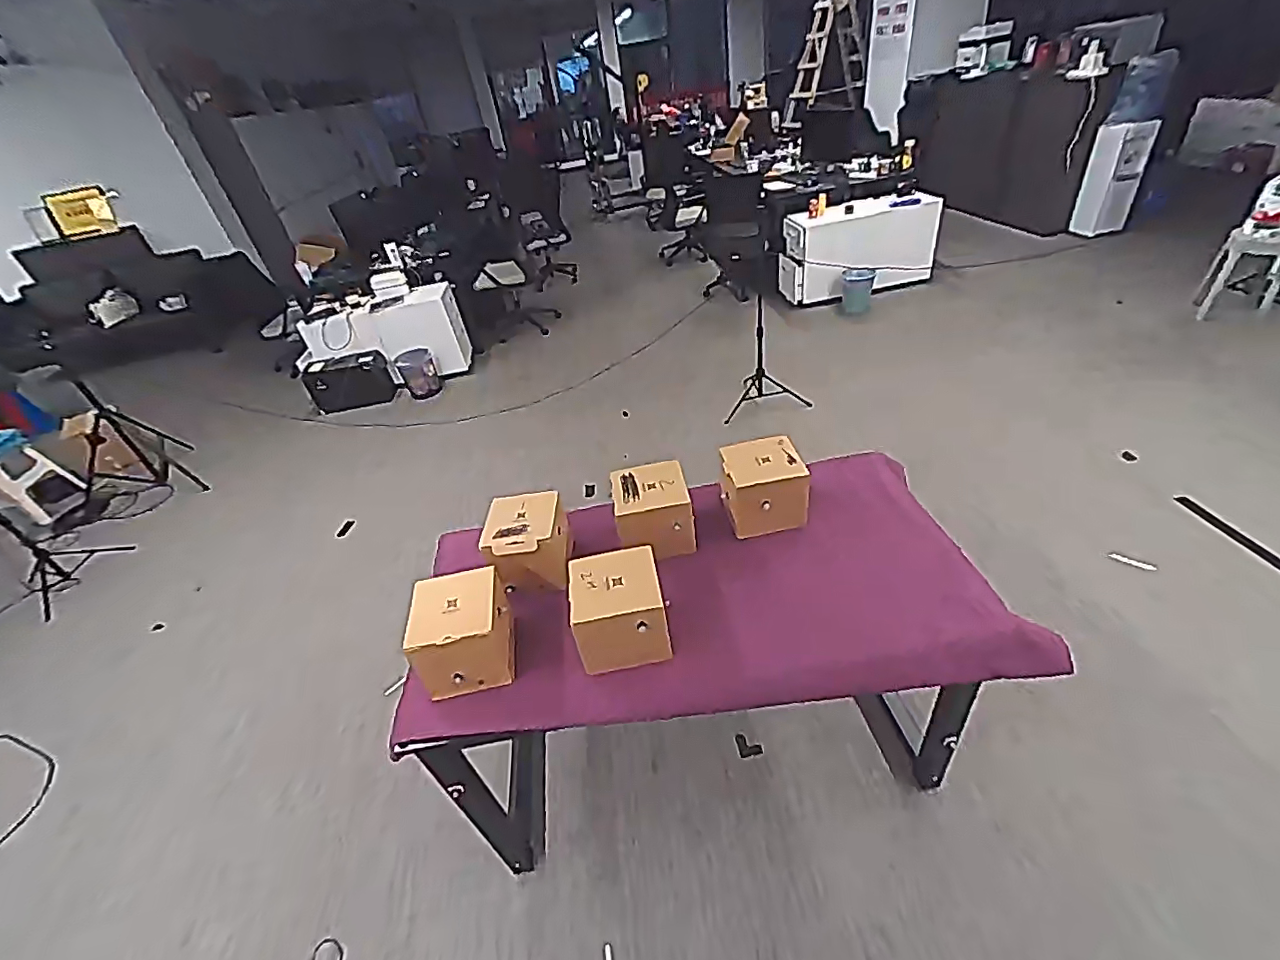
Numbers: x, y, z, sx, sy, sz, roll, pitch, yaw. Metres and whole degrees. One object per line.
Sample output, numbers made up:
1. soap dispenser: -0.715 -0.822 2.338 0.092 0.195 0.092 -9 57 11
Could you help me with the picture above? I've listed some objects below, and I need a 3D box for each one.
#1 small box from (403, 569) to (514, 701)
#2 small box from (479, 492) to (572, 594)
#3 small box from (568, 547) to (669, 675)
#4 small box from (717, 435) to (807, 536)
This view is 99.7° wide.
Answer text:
1. small box: -0.359 0.313 1.100 0.168 0.176 0.179 -12 37 -5
2. small box: -0.263 0.155 1.286 0.168 0.176 0.179 -7 37 4
3. small box: -0.040 0.265 1.087 0.179 0.176 0.168 -12 37 0
4. small box: 0.298 0.018 1.325 0.179 0.176 0.168 -12 39 0
